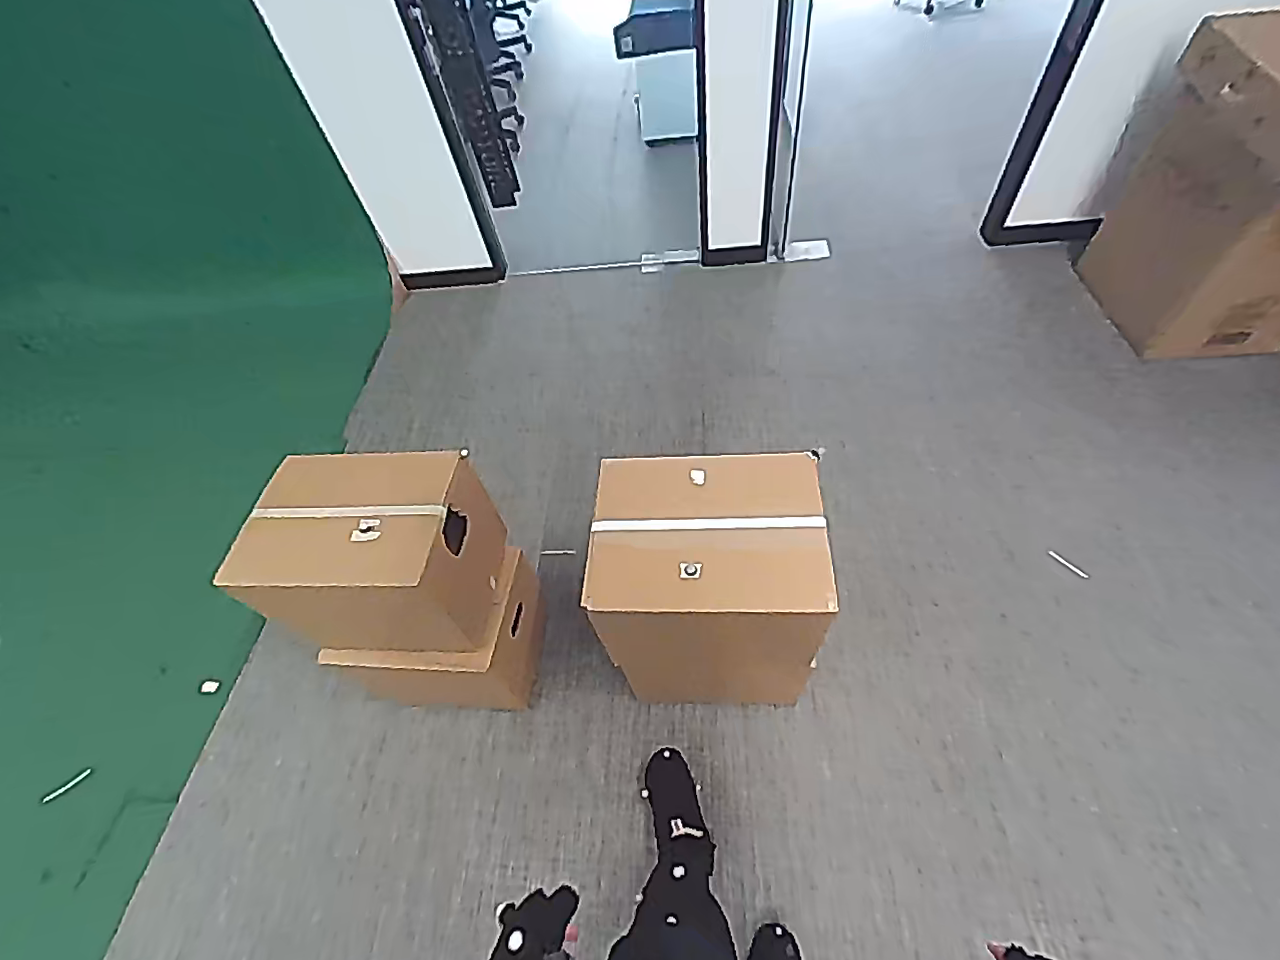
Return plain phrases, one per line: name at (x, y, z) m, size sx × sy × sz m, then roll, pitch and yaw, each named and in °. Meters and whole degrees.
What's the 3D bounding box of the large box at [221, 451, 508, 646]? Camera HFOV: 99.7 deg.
large box at (-0.550, 0.155, 1.173) m, size 0.408 × 0.320 × 0.320 m, roll 0°, pitch 51°, yaw 7°
